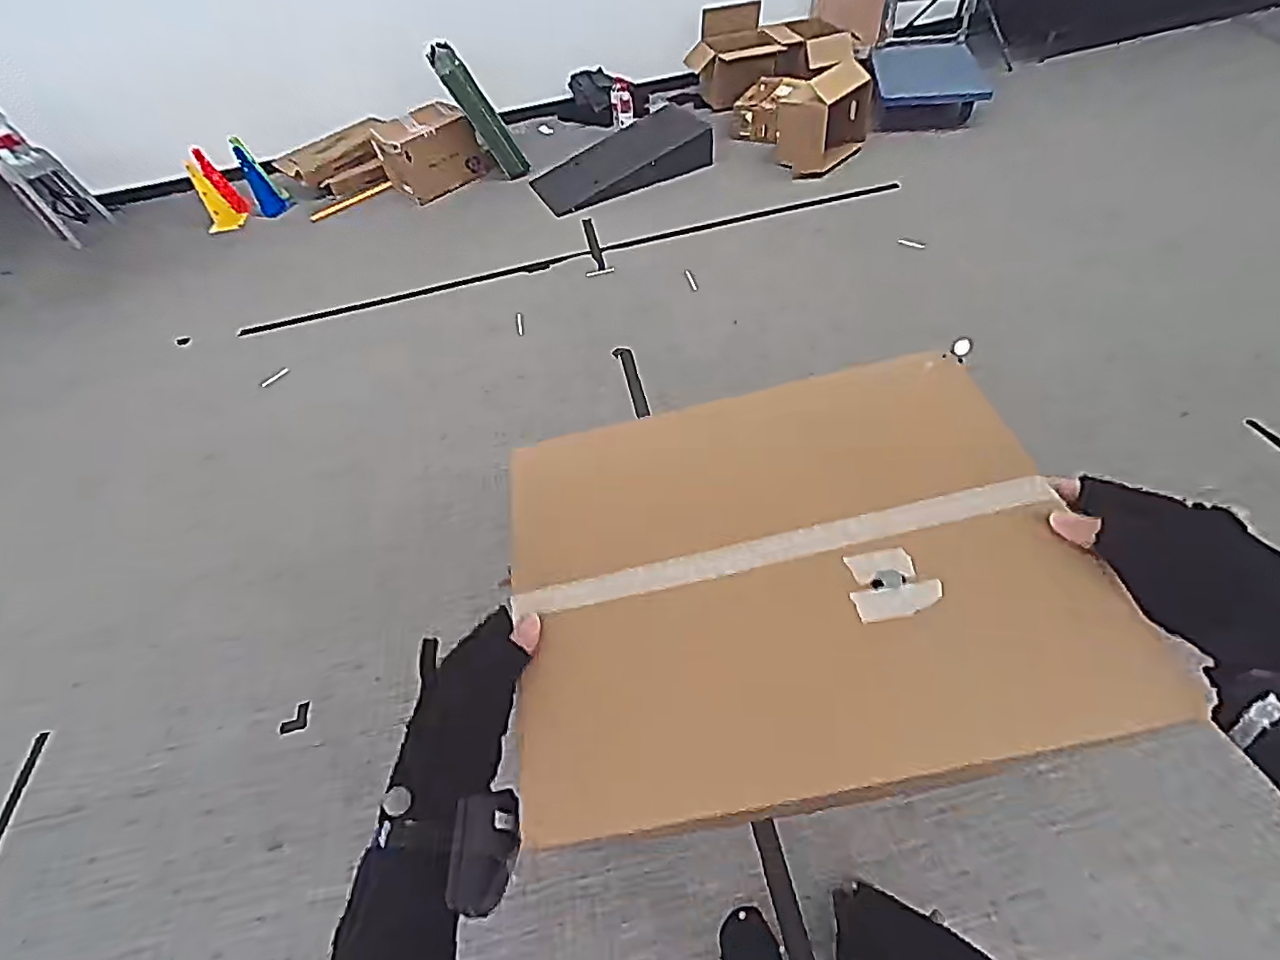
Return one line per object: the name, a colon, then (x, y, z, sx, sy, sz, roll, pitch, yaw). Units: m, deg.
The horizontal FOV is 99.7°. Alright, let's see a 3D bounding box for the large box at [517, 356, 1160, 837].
large box: (0.124, 0.136, 0.540, 0.408, 0.320, 0.320, -13, 56, 3)
